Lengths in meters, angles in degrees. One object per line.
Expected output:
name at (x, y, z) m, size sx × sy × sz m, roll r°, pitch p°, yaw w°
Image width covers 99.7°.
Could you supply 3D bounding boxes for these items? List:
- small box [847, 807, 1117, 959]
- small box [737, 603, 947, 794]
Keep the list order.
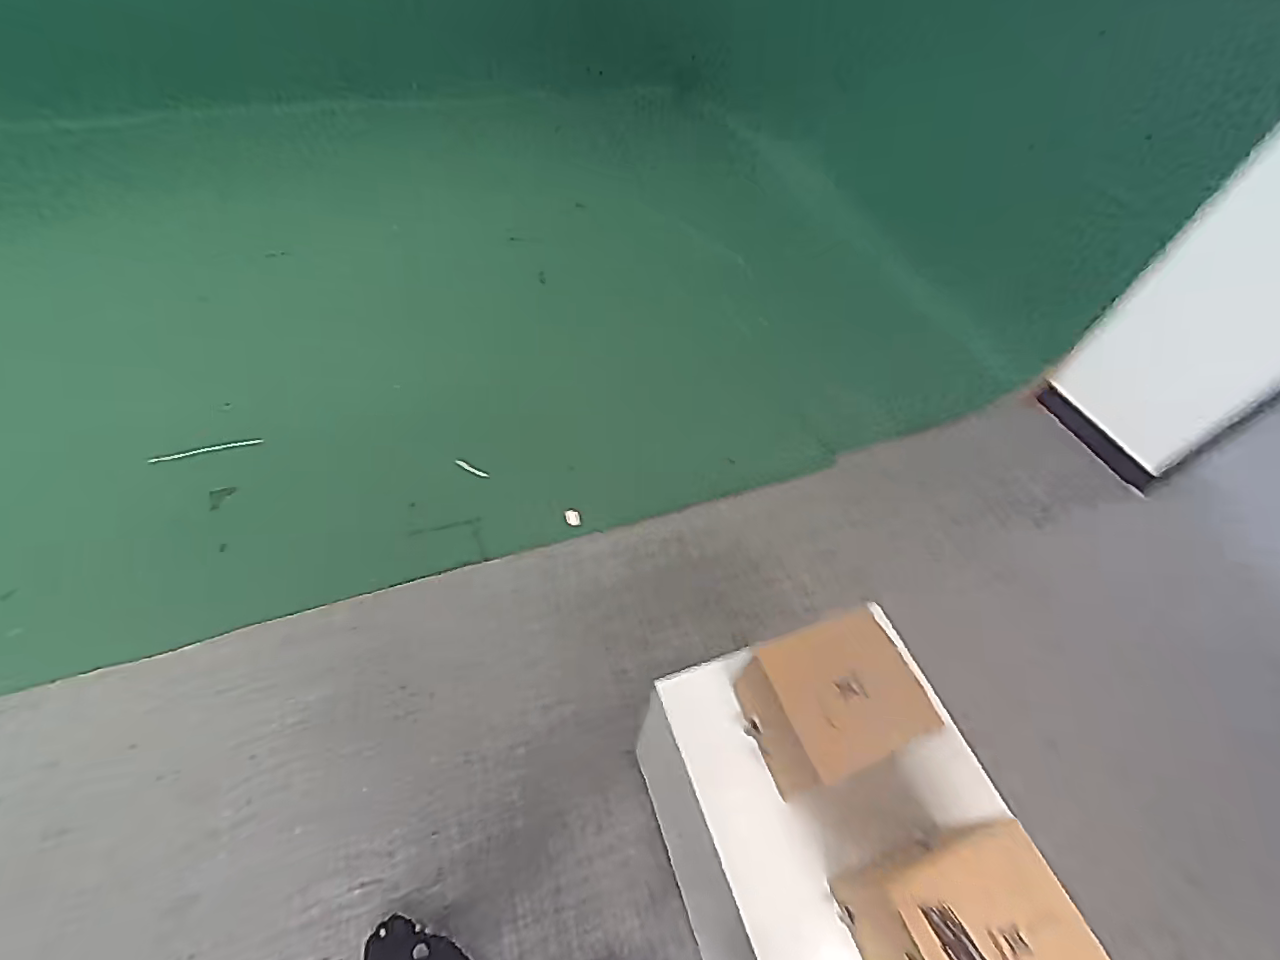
small box at (0.351, 0.486, 0.588) m, size 0.179 × 0.176 × 0.168 m, roll -15°, pitch 57°, yaw -14°
small box at (0.252, 0.293, 0.722) m, size 0.179 × 0.176 × 0.168 m, roll -18°, pitch 57°, yaw -14°
